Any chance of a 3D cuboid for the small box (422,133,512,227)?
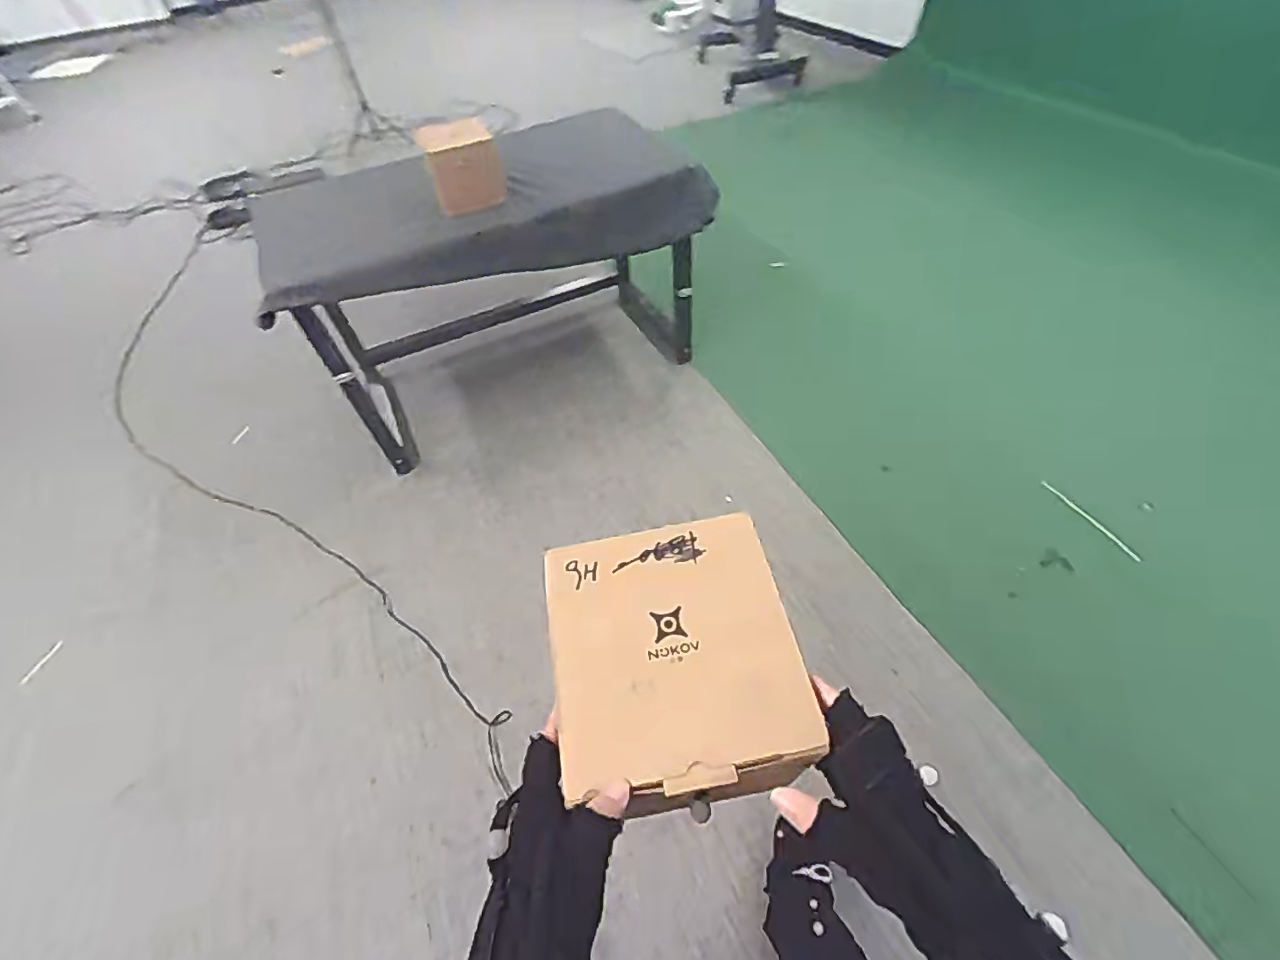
[{"bbox_3d":[-0.474,-0.826,1.497,0.179,0.176,0.168,-22,53,-13],"label":"small box"}]
